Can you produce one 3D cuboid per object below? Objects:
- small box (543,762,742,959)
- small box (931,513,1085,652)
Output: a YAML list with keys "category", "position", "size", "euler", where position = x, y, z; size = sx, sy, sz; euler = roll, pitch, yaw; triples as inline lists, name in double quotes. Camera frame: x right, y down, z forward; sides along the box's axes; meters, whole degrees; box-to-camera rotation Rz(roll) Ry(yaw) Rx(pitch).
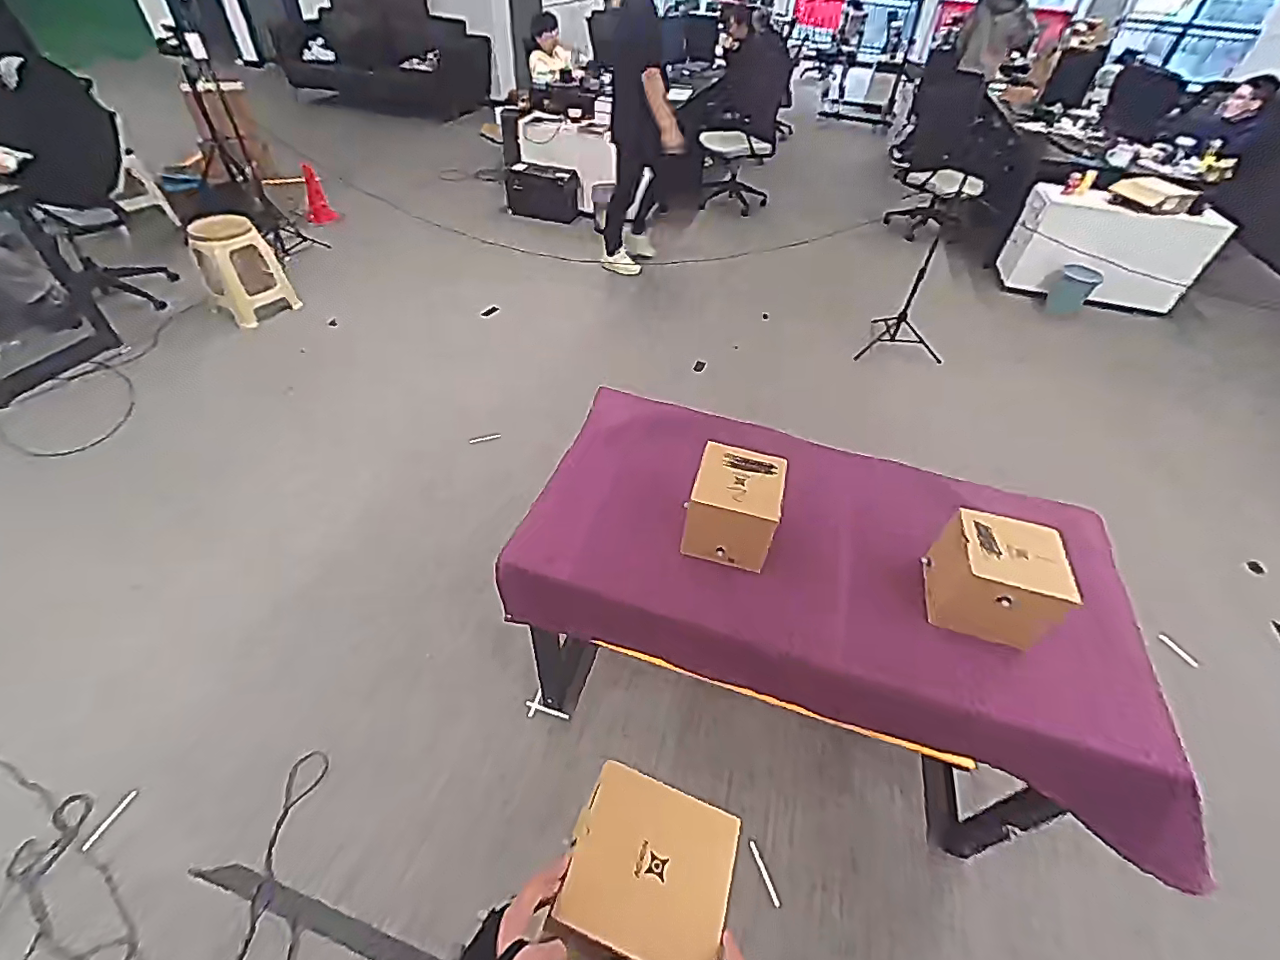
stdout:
- category: "small box"
  position: [0.000, 0.478, 0.642]
  size: [0.179, 0.176, 0.168]
  euler: [21, 41, 7]
- category: "small box"
  position: [0.662, 0.192, 1.004]
  size: [0.179, 0.176, 0.168]
  euler: [15, 46, 10]
